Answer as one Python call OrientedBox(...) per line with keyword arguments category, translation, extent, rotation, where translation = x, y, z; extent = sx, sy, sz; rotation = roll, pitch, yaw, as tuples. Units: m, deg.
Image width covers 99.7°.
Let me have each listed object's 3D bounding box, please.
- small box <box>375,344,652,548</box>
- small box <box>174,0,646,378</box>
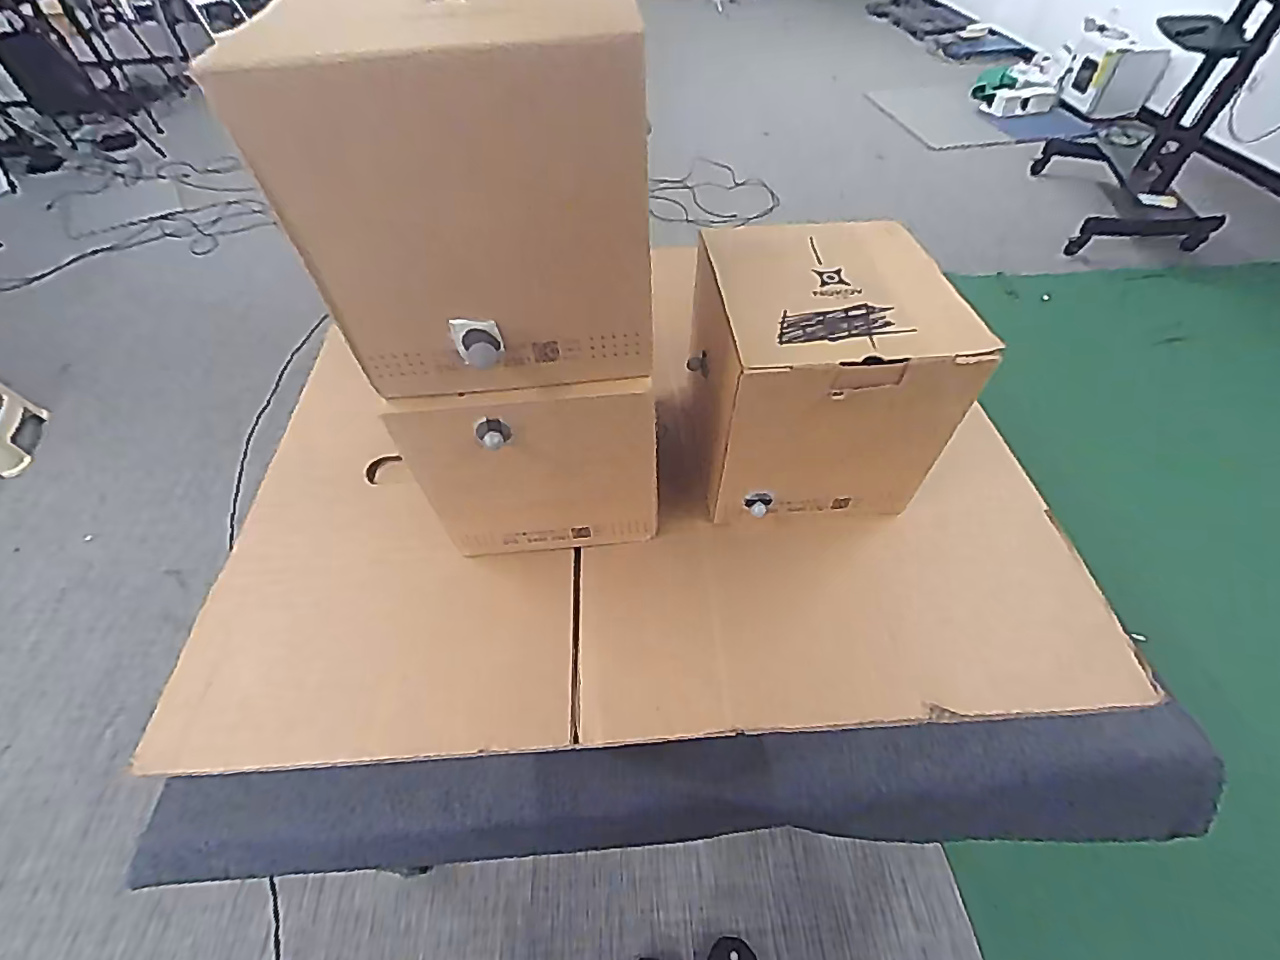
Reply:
OrientedBox(category="small box", translation=(-0.080, -0.066, 0.438), extent=(0.168, 0.176, 0.179), rotation=(-5, 51, 0))
OrientedBox(category="small box", translation=(-0.088, -0.182, 0.304), extent=(0.168, 0.176, 0.179), rotation=(-7, 53, -2))
